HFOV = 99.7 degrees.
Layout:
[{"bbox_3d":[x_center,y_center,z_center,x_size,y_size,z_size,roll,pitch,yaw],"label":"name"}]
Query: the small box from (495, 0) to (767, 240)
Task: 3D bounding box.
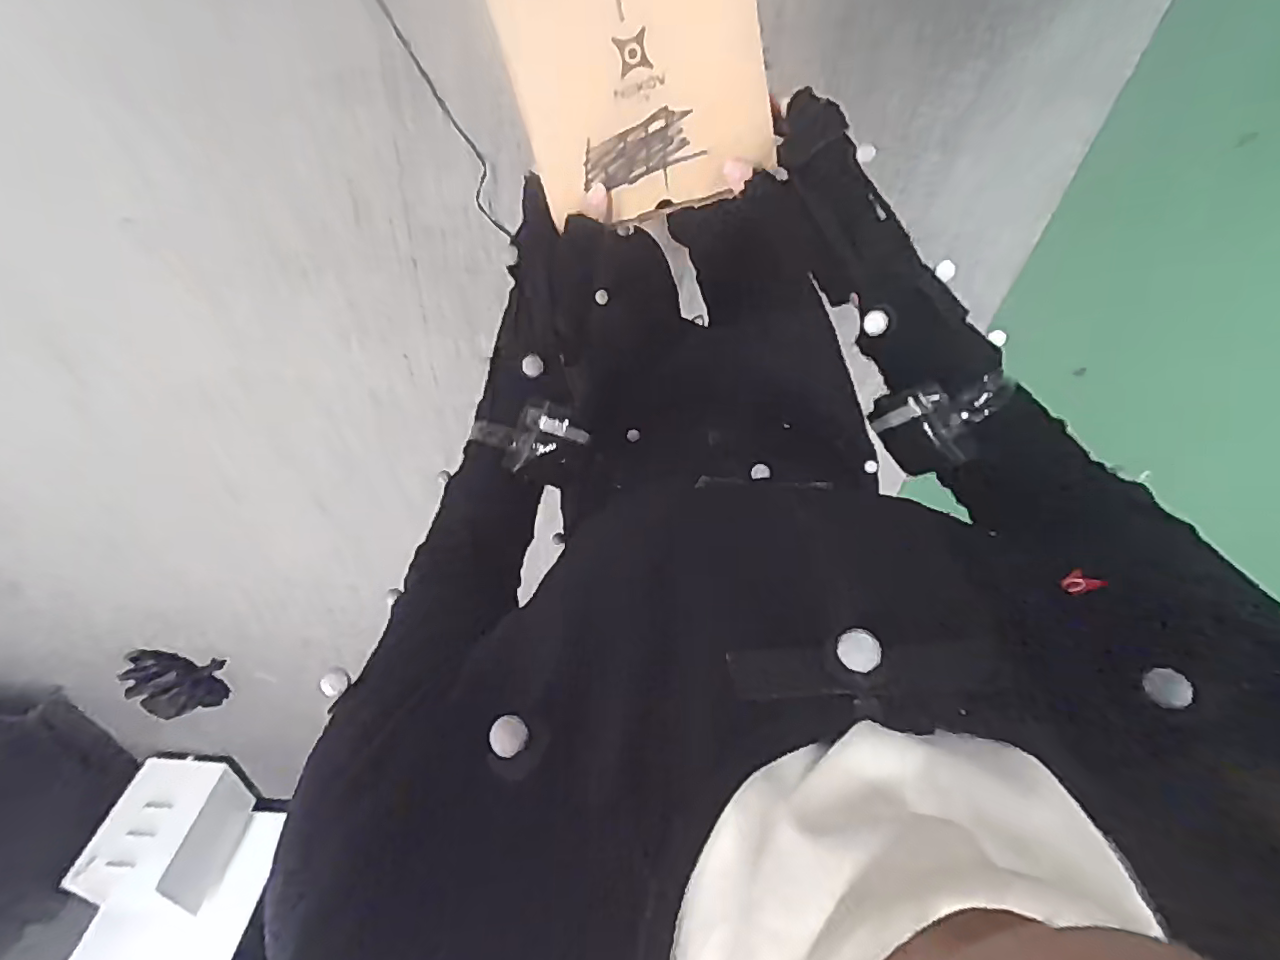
[{"bbox_3d":[0.005,-0.312,0.442,0.168,0.176,0.179,-10,115,11],"label":"small box"}]
